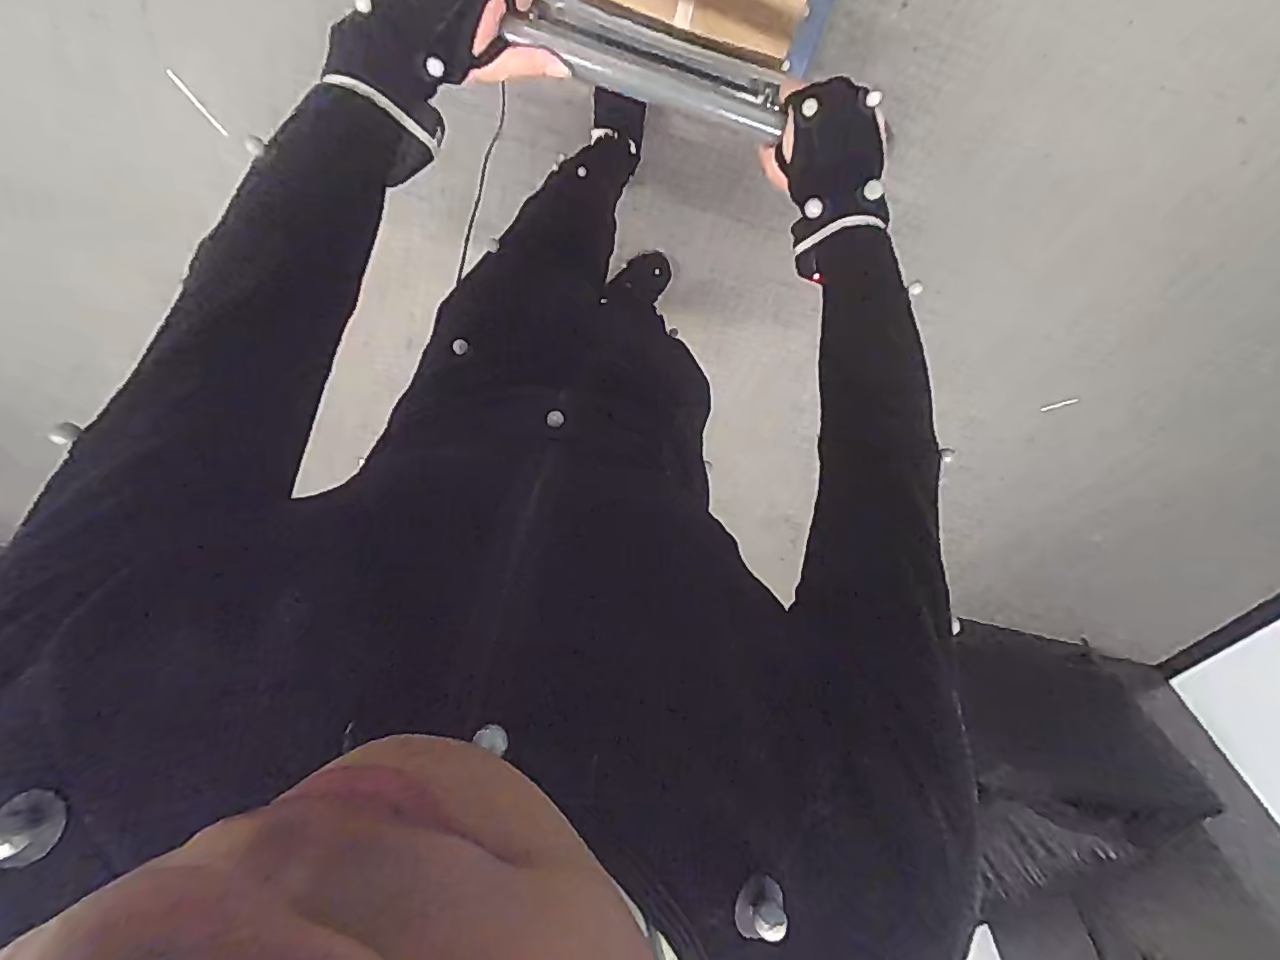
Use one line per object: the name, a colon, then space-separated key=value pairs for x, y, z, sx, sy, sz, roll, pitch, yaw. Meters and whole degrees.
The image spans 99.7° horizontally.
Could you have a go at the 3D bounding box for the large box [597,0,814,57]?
large box: x=0.118 y=-0.858 z=0.725 sx=0.320 sy=0.320 sz=0.408 roll=12 pitch=129 yaw=-9
